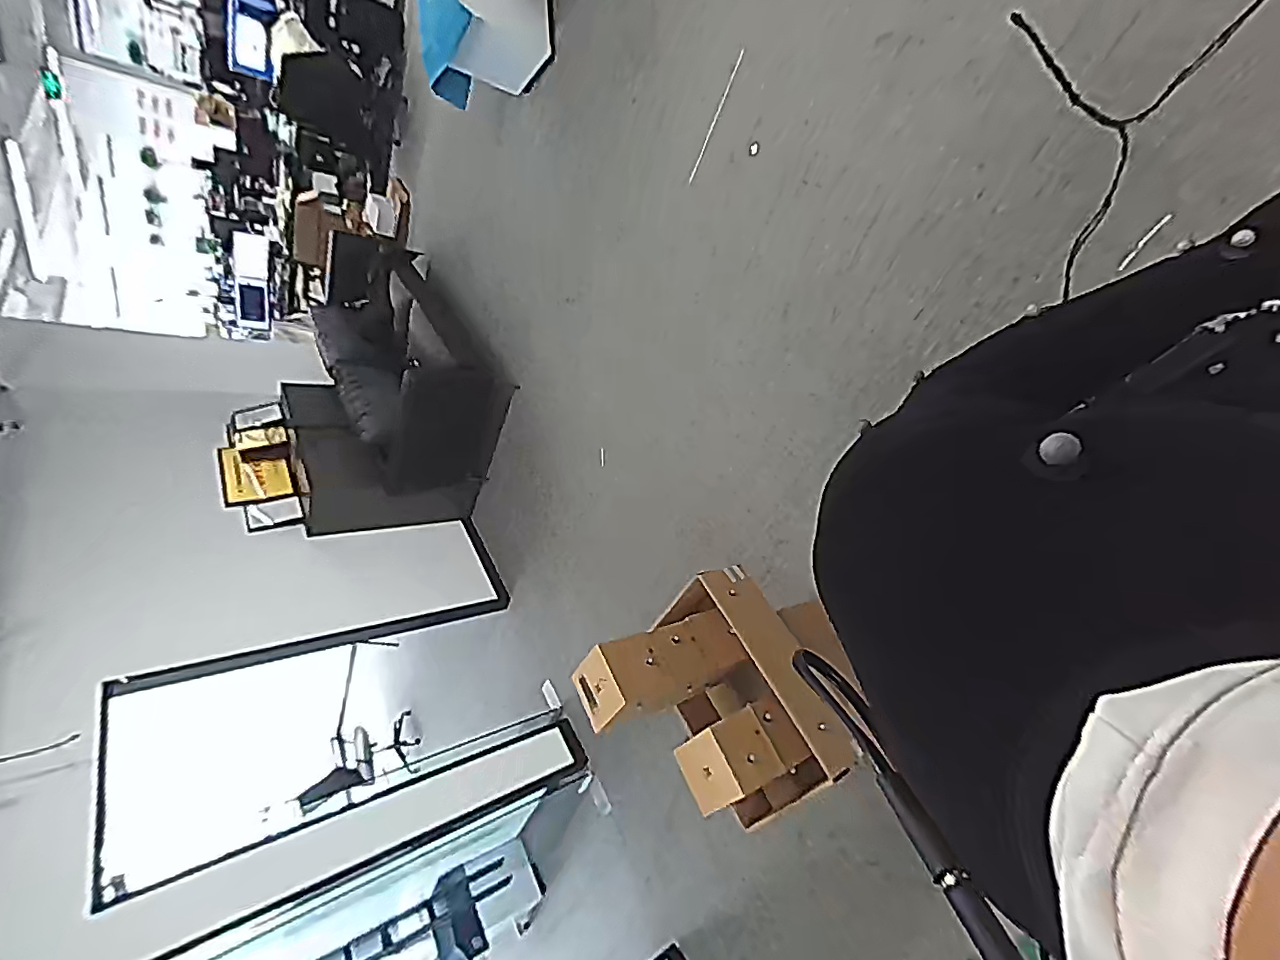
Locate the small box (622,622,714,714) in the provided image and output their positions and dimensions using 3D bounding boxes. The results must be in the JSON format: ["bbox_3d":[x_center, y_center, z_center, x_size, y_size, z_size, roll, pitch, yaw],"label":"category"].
[{"bbox_3d":[0.083,0.524,1.523,0.168,0.176,0.179,58,133,31],"label":"small box"}]

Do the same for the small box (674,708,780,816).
[{"bbox_3d":[0.226,0.706,1.367,0.179,0.176,0.168,-55,53,37],"label":"small box"}]
